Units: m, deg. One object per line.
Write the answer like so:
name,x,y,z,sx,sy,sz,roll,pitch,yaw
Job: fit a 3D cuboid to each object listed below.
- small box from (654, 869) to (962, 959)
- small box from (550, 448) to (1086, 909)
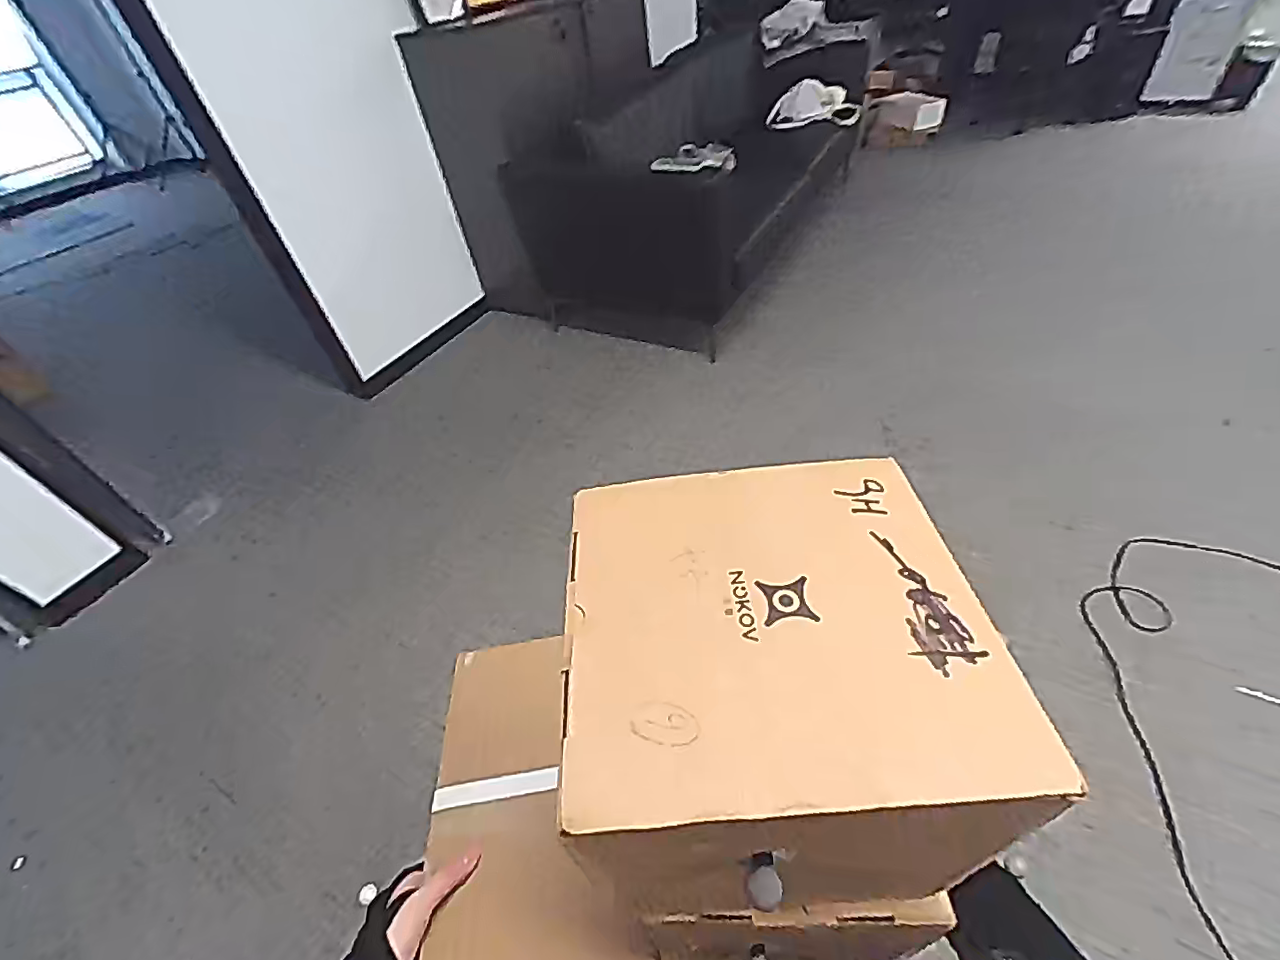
small box,0.094,0.225,0.397,0.168,0.176,0.179,-3,44,5
small box,0.063,0.107,0.285,0.179,0.176,0.168,-7,44,3
